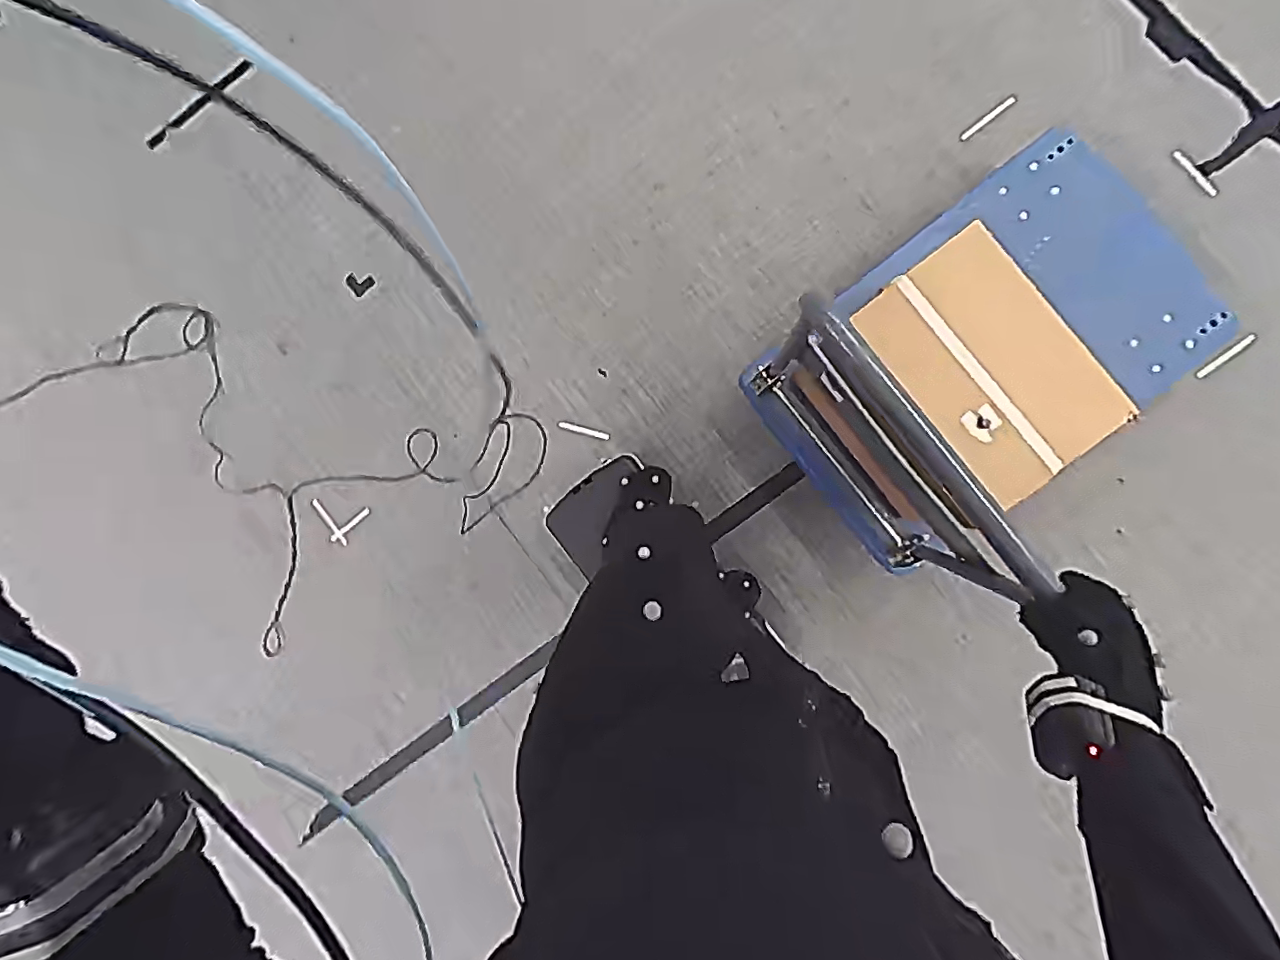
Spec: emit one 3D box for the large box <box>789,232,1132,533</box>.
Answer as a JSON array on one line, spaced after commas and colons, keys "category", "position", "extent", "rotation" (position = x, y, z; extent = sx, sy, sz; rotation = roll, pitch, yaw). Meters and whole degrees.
[{"category": "large box", "position": [0.550, -0.160, 1.022], "extent": [0.320, 0.320, 0.408], "rotation": [-38, 87, 4]}]
